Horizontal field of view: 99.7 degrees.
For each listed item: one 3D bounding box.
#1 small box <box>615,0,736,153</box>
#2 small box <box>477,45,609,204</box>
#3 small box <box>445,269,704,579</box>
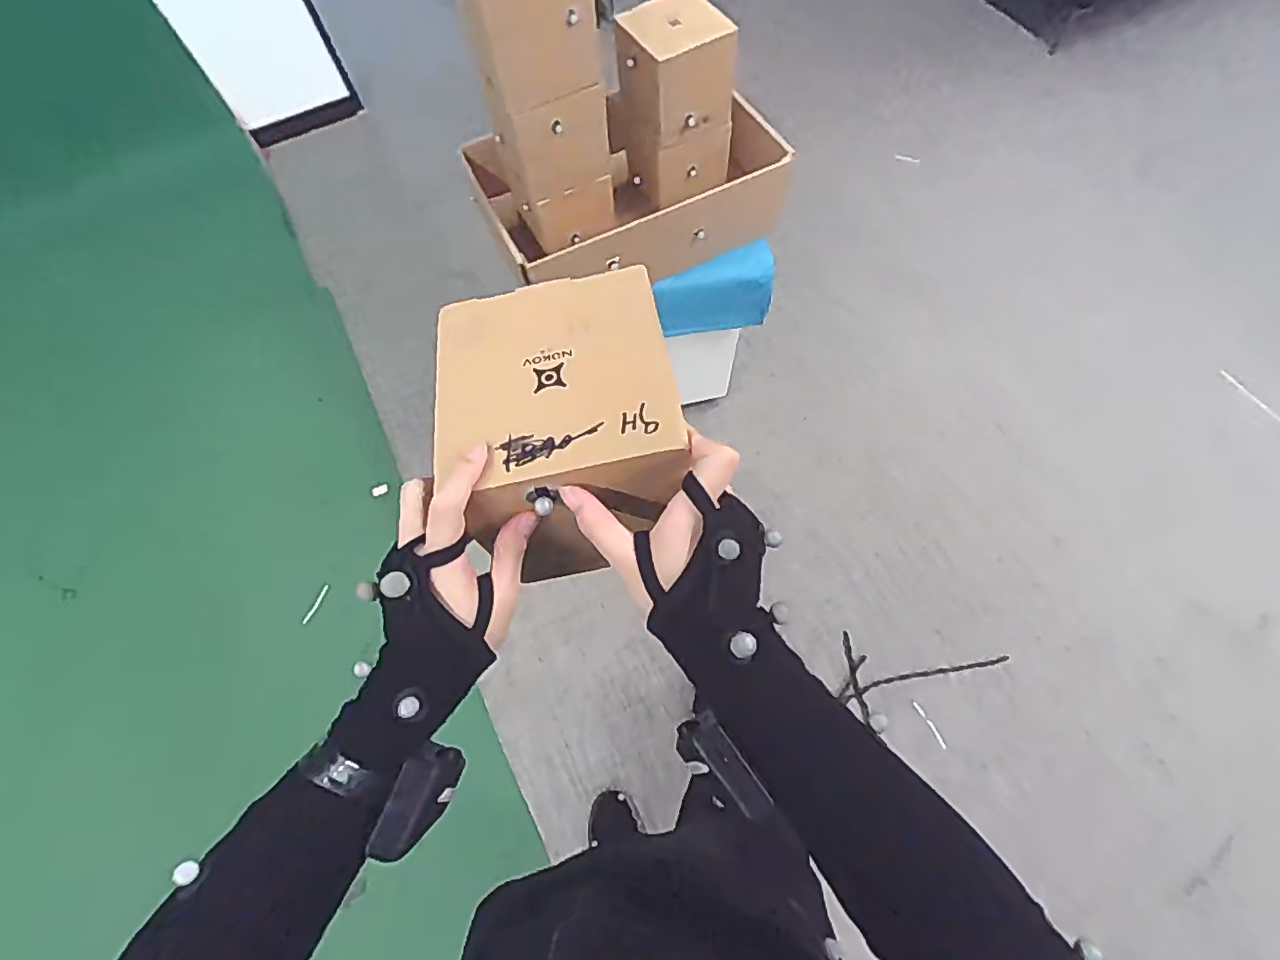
[{"bbox_3d":[0.067,-0.786,1.056,0.168,0.176,0.179,-28,67,-8],"label":"small box"},{"bbox_3d":[-0.172,-0.655,1.009,0.179,0.176,0.168,-27,67,-10],"label":"small box"},{"bbox_3d":[-0.044,-0.039,0.450,0.168,0.176,0.179,-12,58,2],"label":"small box"}]
